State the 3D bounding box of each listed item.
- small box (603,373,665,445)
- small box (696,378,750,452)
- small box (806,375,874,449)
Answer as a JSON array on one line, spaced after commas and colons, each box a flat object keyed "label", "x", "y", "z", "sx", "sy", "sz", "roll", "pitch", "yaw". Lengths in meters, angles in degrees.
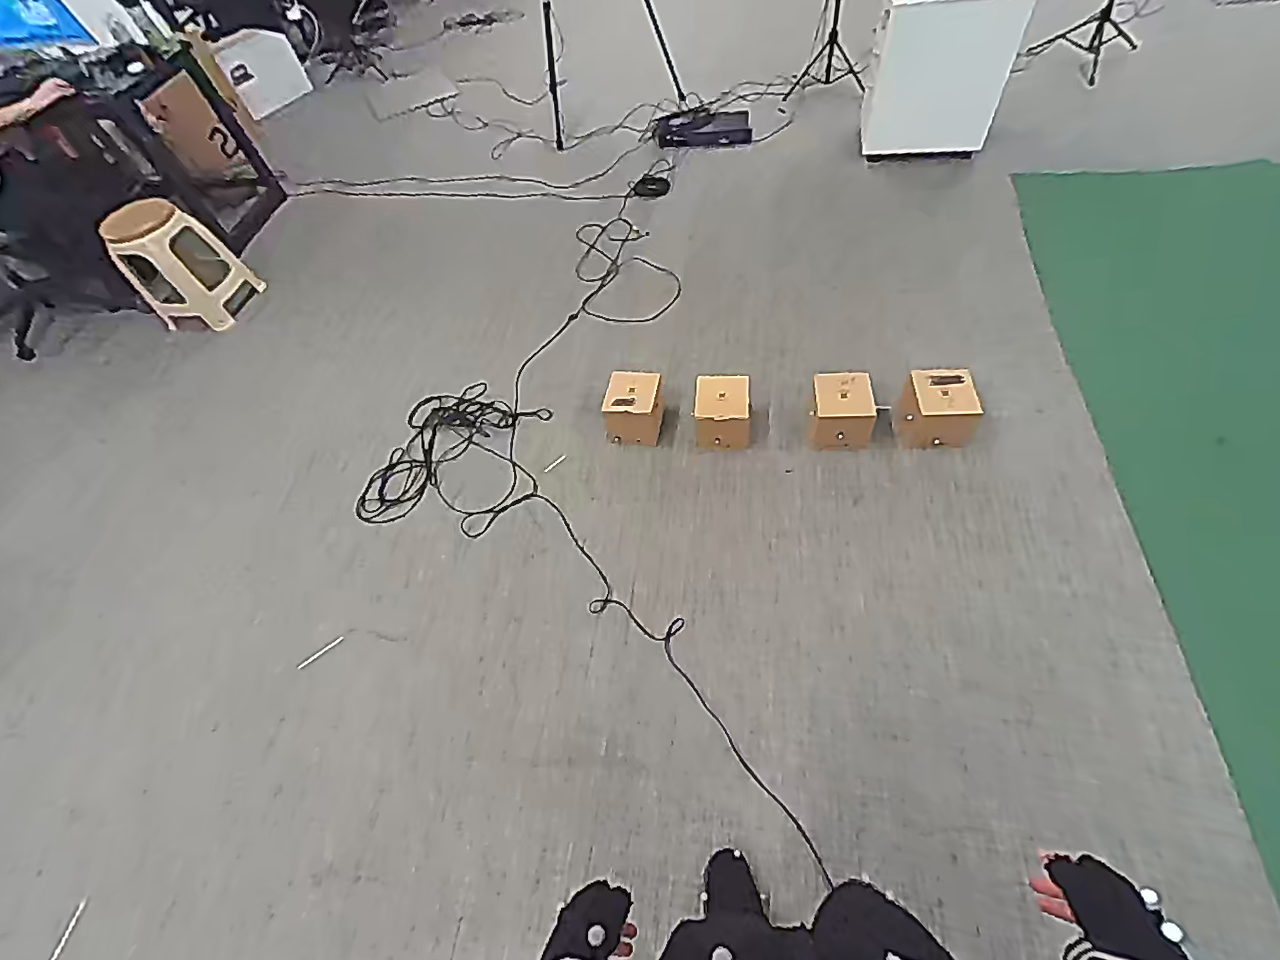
[{"label": "small box", "x": -0.014, "y": -0.236, "z": 1.821, "sx": 0.168, "sy": 0.176, "sz": 0.179, "roll": 5, "pitch": 57, "yaw": 12}, {"label": "small box", "x": 0.270, "y": -0.213, "z": 1.764, "sx": 0.168, "sy": 0.176, "sz": 0.179, "roll": 1, "pitch": 58, "yaw": 10}, {"label": "small box", "x": 0.625, "y": -0.210, "z": 1.705, "sx": 0.168, "sy": 0.176, "sz": 0.179, "roll": 0, "pitch": 57, "yaw": 8}]
